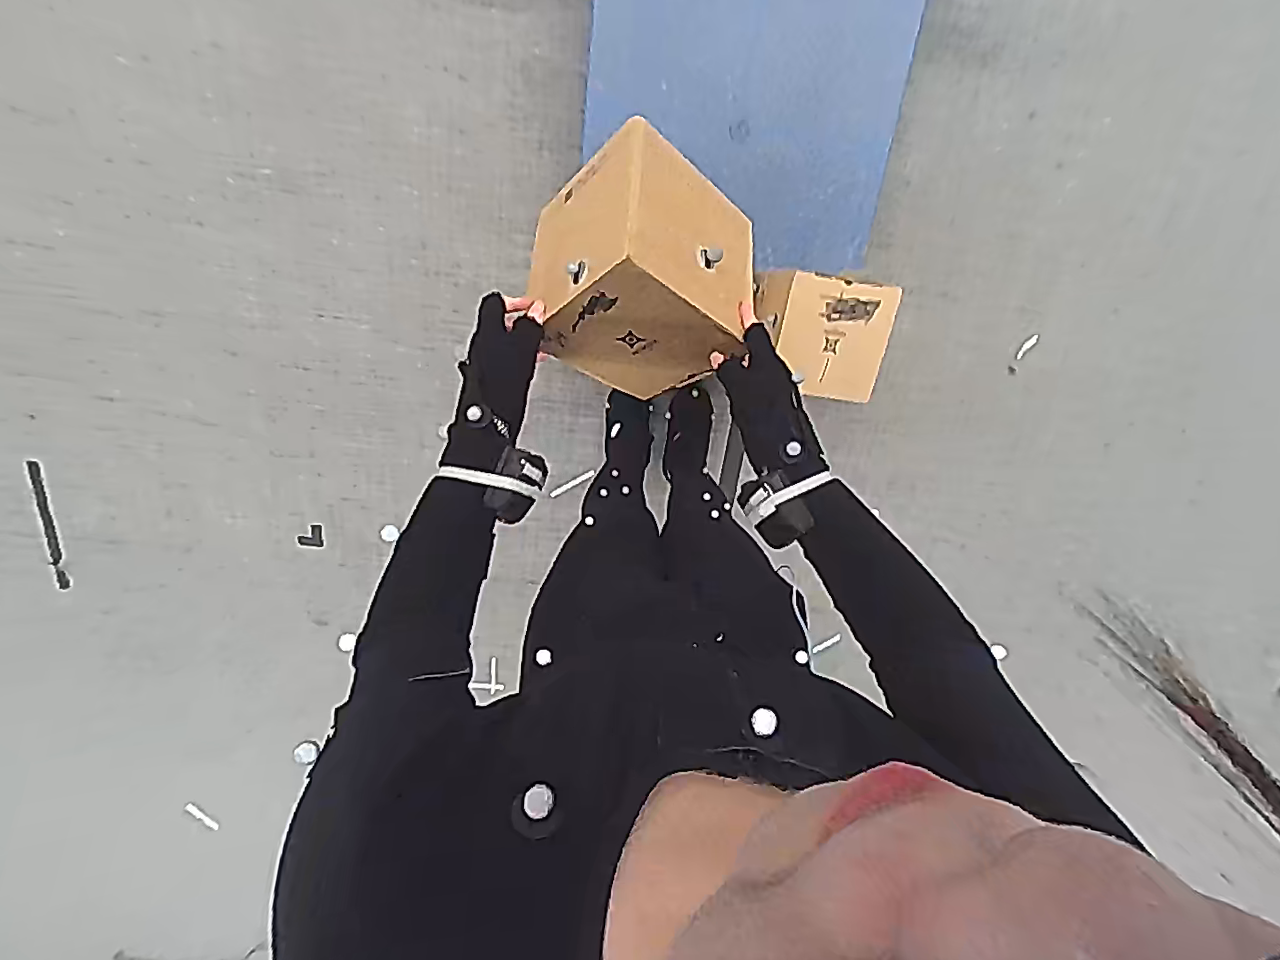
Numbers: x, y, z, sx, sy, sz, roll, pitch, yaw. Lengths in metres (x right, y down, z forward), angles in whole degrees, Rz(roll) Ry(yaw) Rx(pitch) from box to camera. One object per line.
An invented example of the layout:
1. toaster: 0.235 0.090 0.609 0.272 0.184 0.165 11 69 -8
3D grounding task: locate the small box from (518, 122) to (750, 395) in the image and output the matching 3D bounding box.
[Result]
1. small box: -0.002 -0.214 0.561 0.179 0.176 0.168 17 156 -39

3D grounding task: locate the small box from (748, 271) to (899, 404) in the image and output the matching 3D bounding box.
1. small box: 0.287 -0.240 0.893 0.168 0.176 0.179 9 111 -4
